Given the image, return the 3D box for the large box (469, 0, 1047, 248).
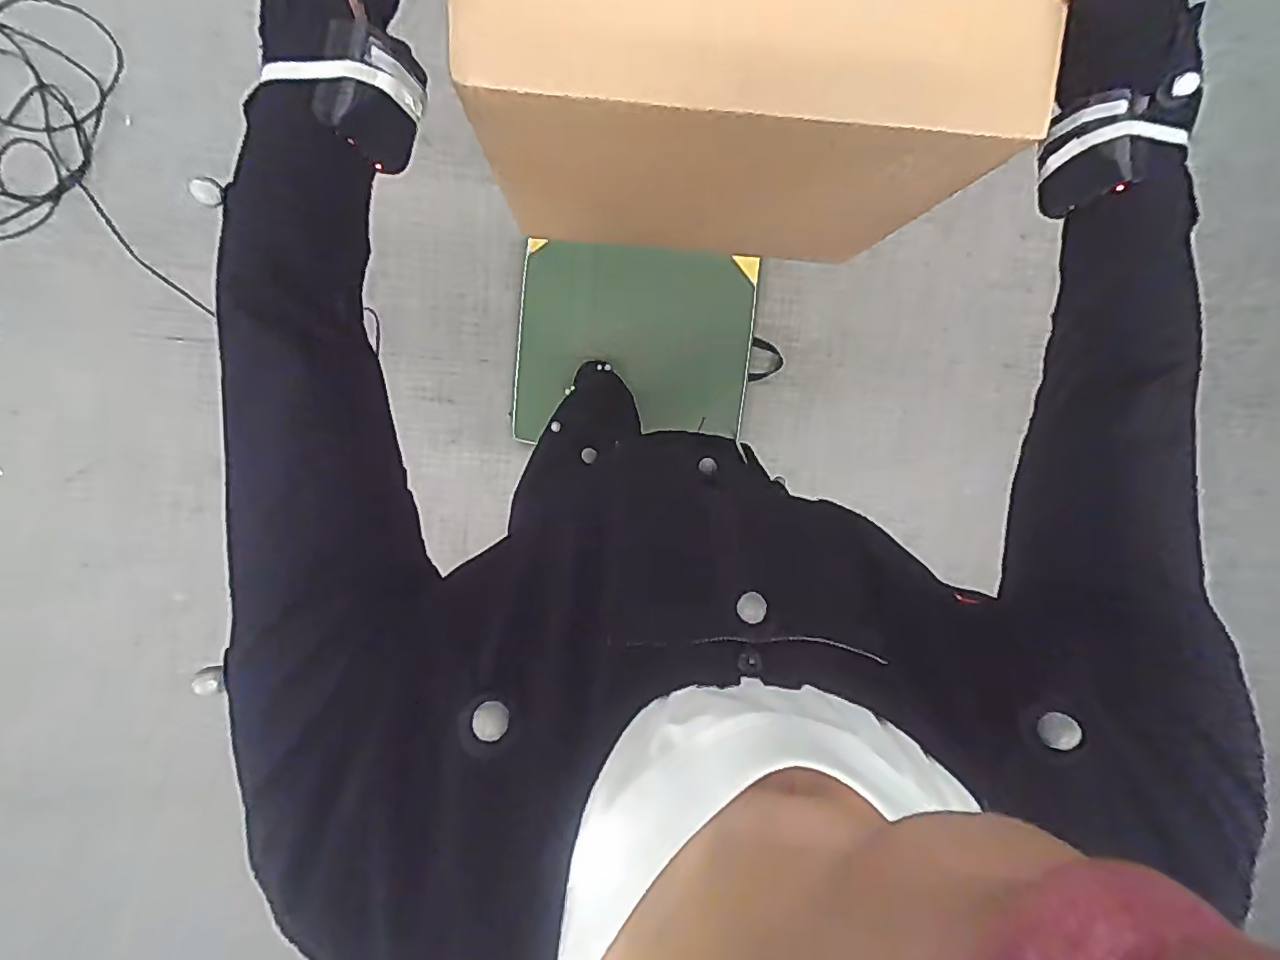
[{"bbox_3d":[0.076,-0.428,0.500,0.408,0.320,0.320,2,98,-5],"label":"large box"}]
